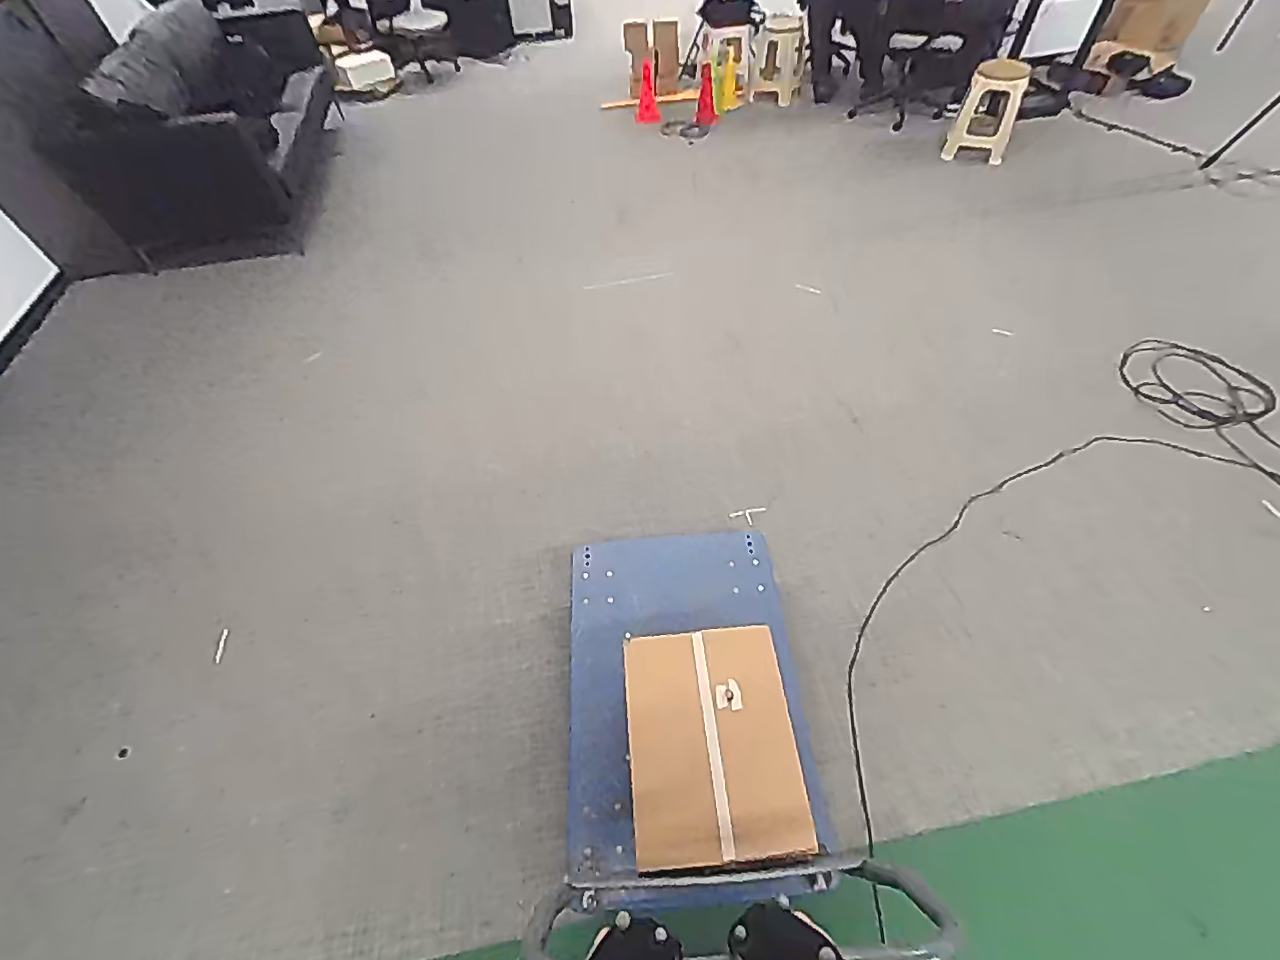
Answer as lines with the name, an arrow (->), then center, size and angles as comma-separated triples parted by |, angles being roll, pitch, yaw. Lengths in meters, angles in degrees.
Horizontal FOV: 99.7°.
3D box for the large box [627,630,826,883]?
large box -> 0.152, 0.578, 1.133 | 0.320, 0.320, 0.408 | -5, 53, -1
